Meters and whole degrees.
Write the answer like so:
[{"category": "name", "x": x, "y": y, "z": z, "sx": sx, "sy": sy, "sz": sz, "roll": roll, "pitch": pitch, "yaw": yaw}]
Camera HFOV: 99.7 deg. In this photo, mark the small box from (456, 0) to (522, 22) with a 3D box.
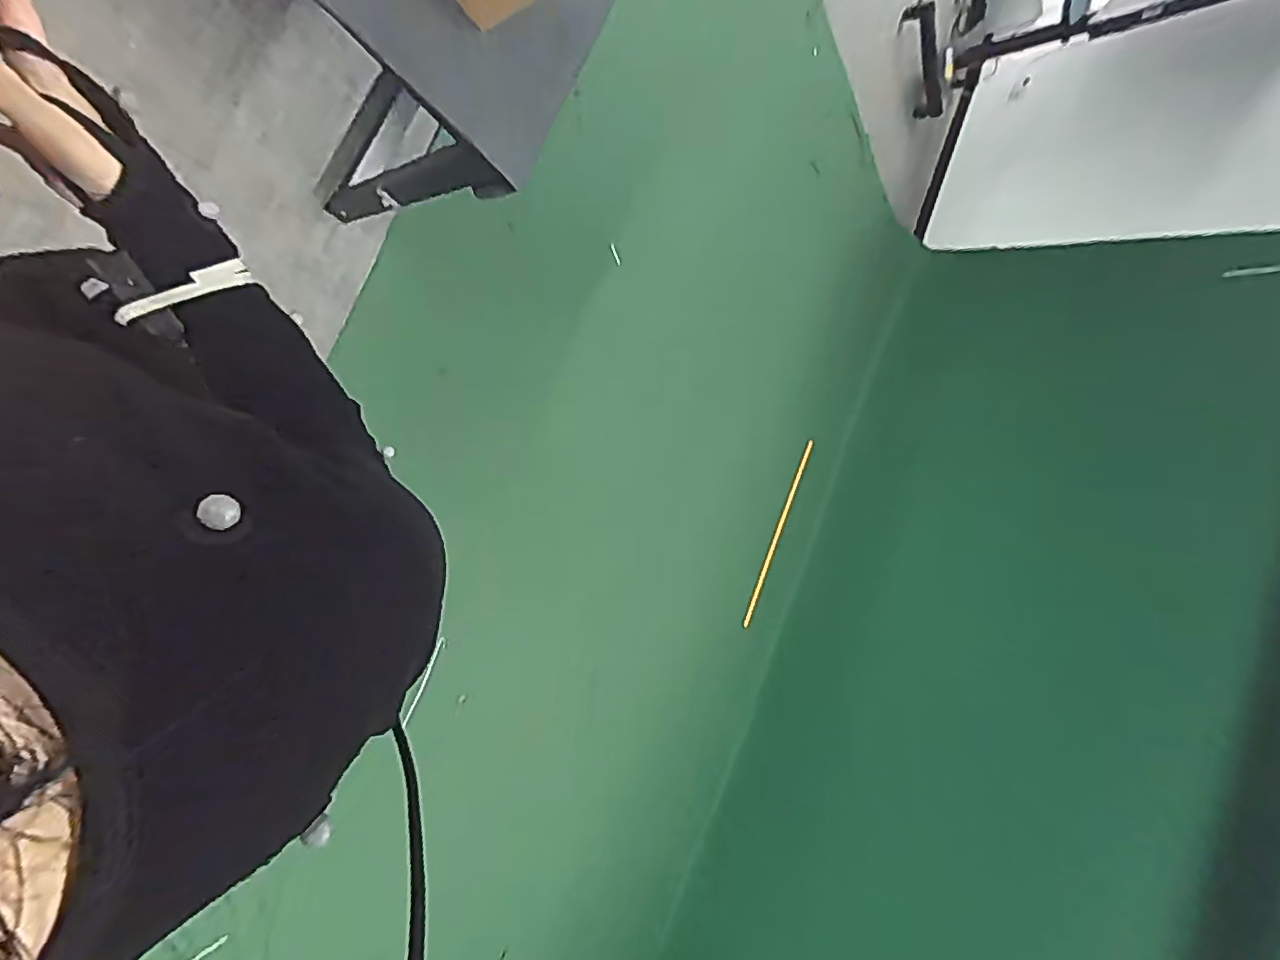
[{"category": "small box", "x": -0.180, "y": -0.723, "z": 0.655, "sx": 0.168, "sy": 0.176, "sz": 0.179, "roll": 29, "pitch": 80, "yaw": -47}]
